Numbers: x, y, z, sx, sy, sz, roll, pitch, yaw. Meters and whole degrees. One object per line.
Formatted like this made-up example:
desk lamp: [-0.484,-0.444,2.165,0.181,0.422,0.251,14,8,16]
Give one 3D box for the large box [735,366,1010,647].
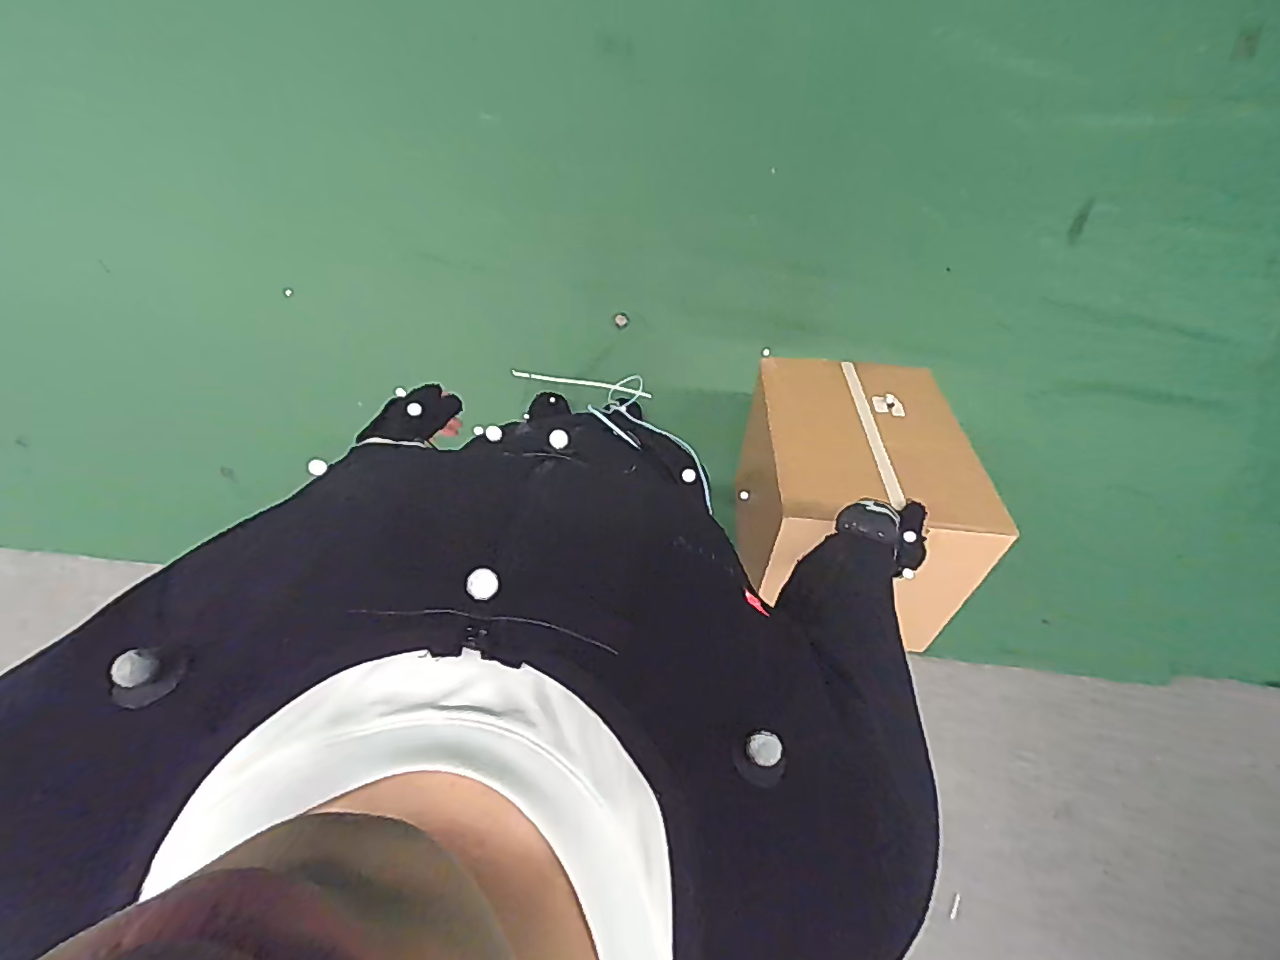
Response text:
large box: [0.357,0.041,0.977,0.320,0.408,0.320,6,133,0]
